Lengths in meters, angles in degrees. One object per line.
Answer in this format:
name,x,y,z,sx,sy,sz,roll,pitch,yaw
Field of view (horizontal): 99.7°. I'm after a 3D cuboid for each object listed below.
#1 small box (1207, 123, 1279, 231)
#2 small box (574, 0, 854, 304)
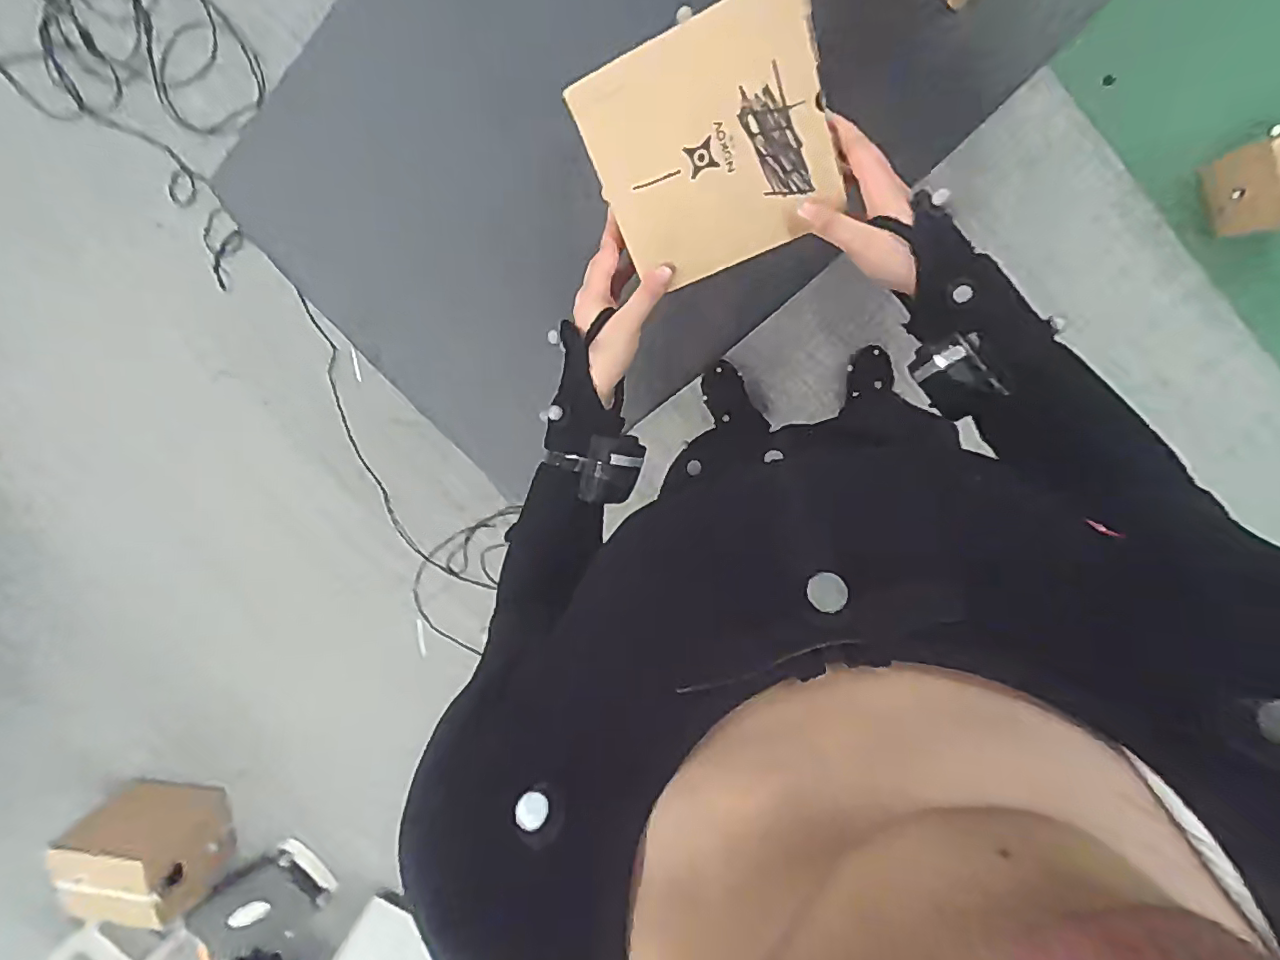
small box,1.295,-0.623,1.073,0.179,0.176,0.168,-26,100,14
small box,0.064,-0.281,0.471,0.179,0.176,0.168,-17,120,14
